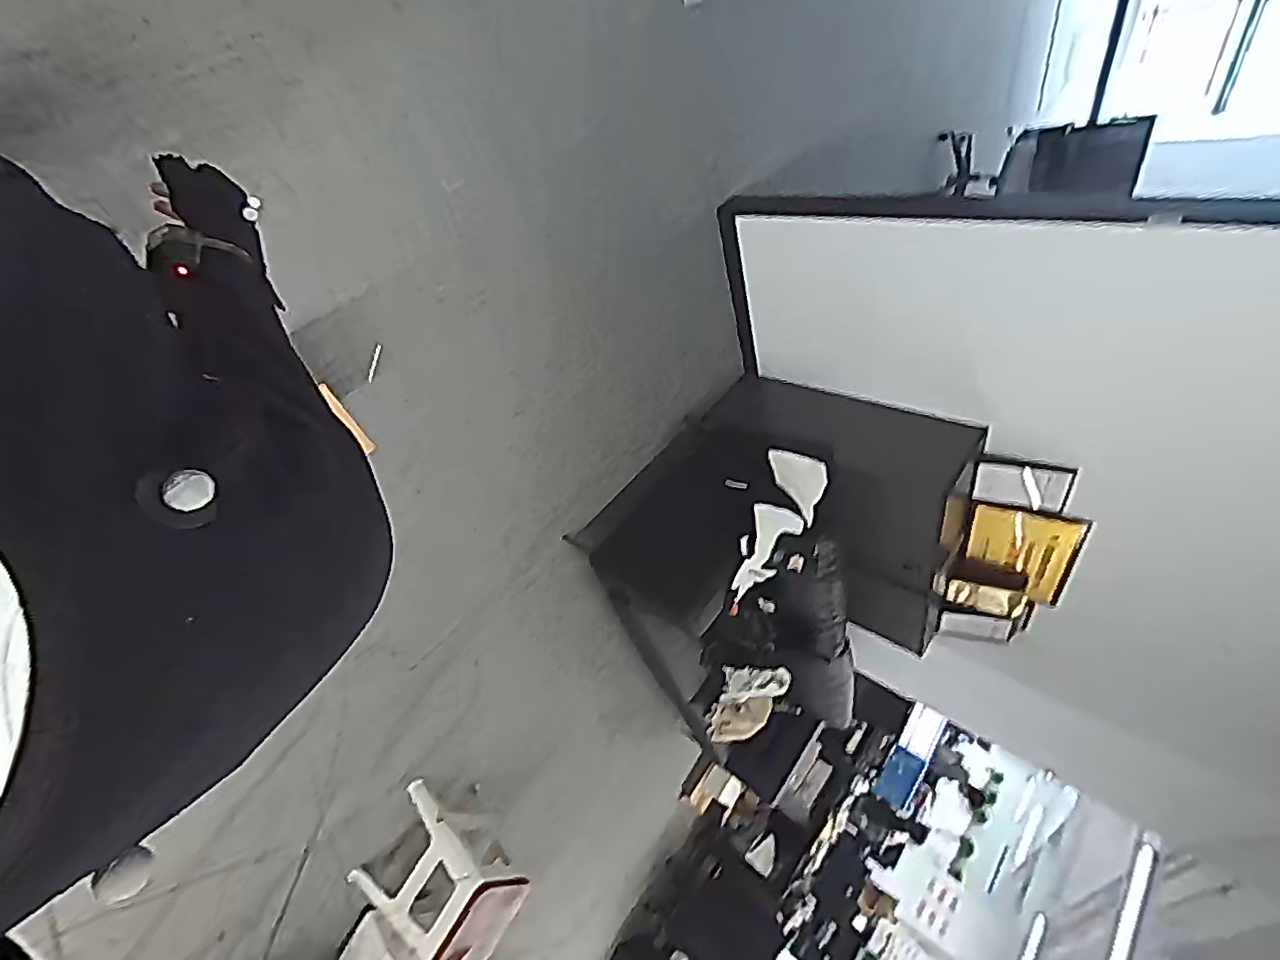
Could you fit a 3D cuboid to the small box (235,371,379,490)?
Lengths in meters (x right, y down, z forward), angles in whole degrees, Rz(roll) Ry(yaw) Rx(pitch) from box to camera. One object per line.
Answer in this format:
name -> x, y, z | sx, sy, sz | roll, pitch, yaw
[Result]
small box -> -0.700, -0.112, 1.136 | 0.168, 0.176, 0.179 | -45, 139, -24
